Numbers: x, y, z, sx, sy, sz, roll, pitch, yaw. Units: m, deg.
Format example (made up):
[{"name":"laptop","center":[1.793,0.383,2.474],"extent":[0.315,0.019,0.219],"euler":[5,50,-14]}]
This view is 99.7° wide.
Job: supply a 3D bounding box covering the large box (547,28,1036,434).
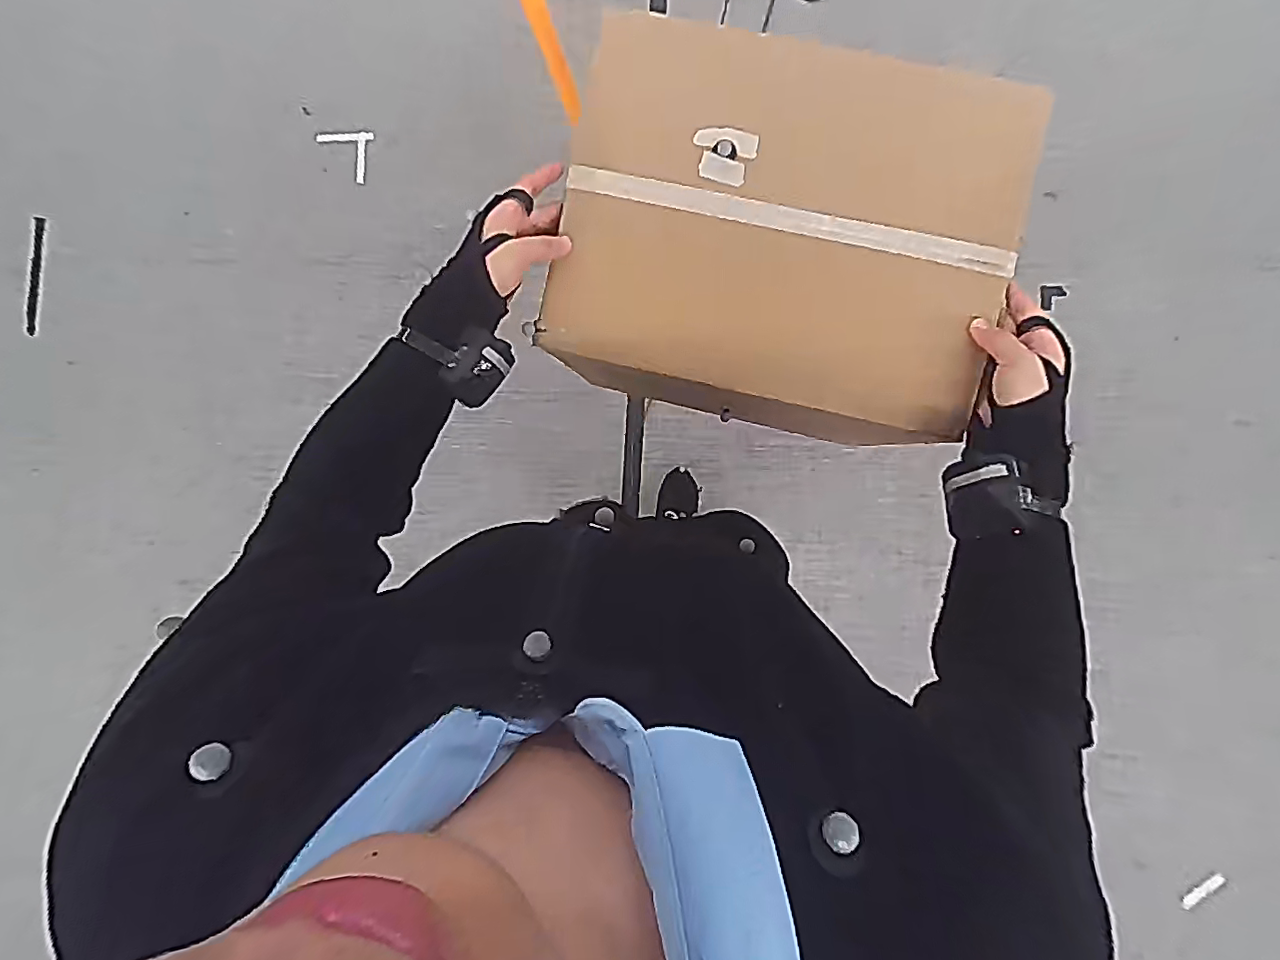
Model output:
[{"name":"large box","center":[0.145,-0.245,0.653],"extent":[0.408,0.320,0.320],"euler":[13,93,4]}]
